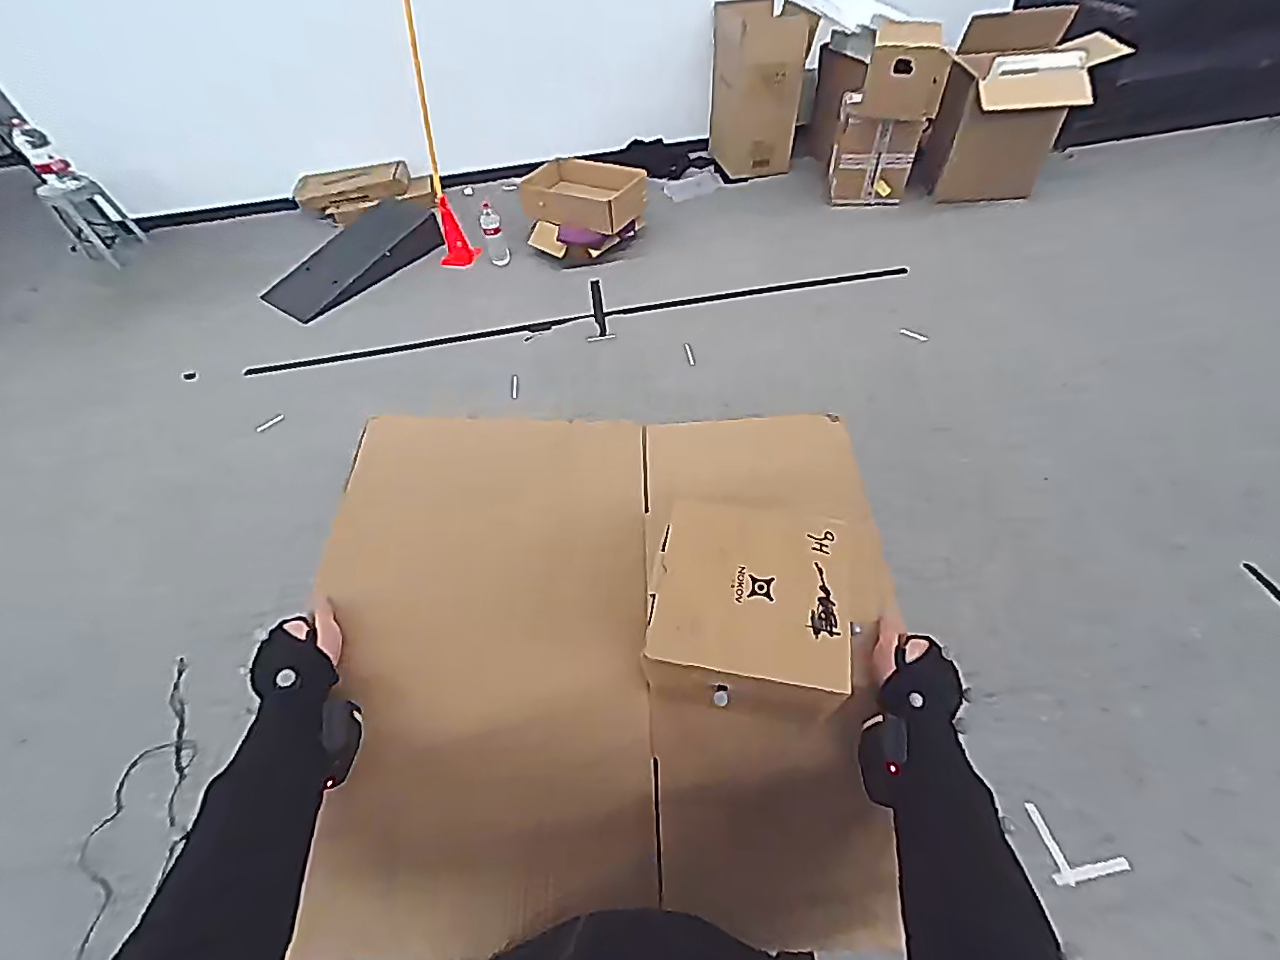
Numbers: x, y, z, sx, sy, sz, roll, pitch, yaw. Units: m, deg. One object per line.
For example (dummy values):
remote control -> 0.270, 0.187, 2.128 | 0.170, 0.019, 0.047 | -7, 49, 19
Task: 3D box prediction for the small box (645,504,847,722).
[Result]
small box -> 0.113, 0.145, 0.572 | 0.179, 0.176, 0.168 | 6, 57, 11
